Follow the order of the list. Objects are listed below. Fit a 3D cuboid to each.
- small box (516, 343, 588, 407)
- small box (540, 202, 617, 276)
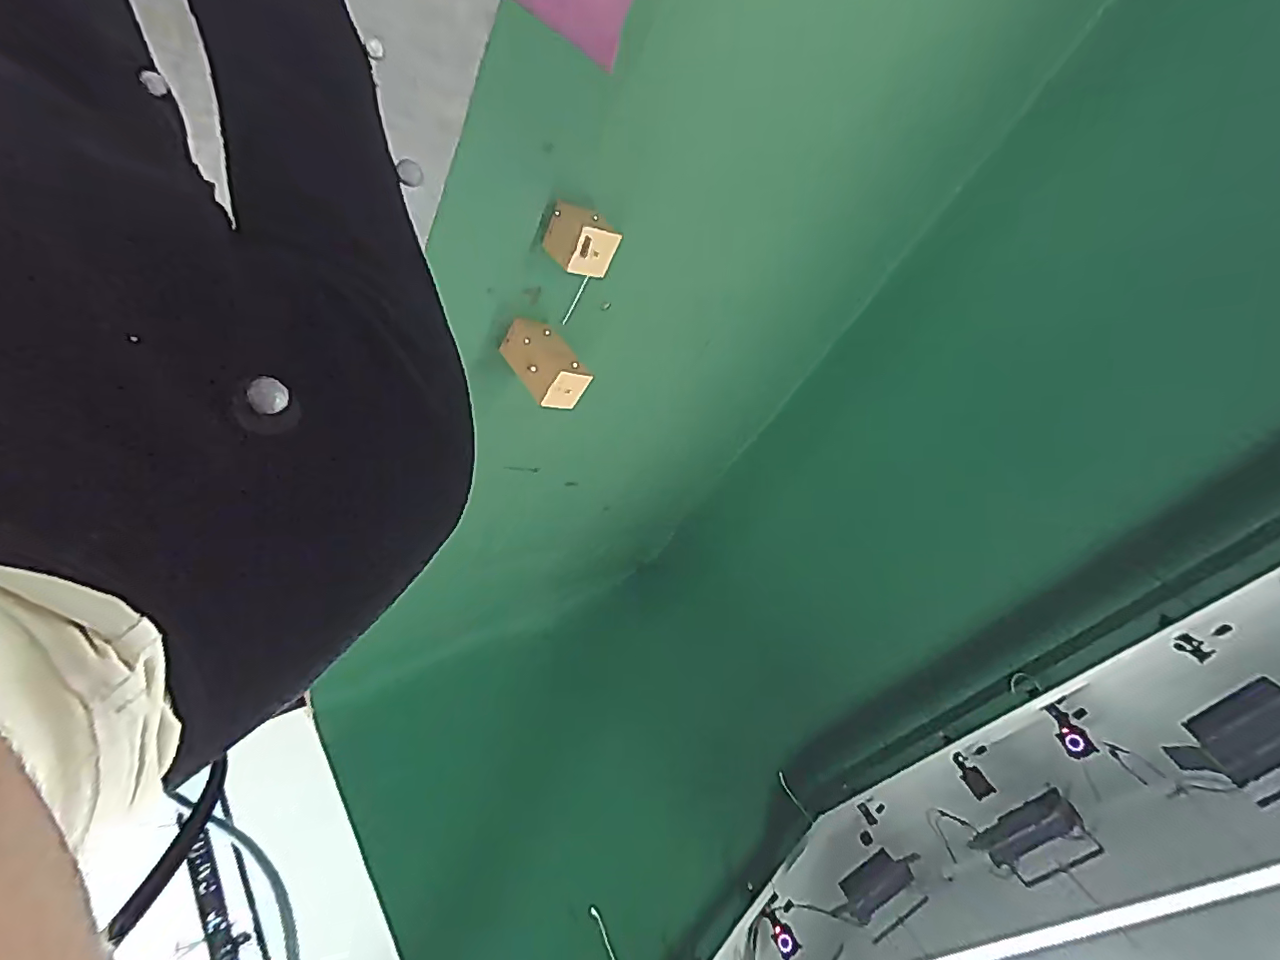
[{"bbox_3d":[-0.338,-0.401,2.070,0.179,0.176,0.168,-2,137,-53],"label":"small box"},{"bbox_3d":[-0.219,-0.837,1.877,0.179,0.176,0.168,-12,145,-47],"label":"small box"}]
